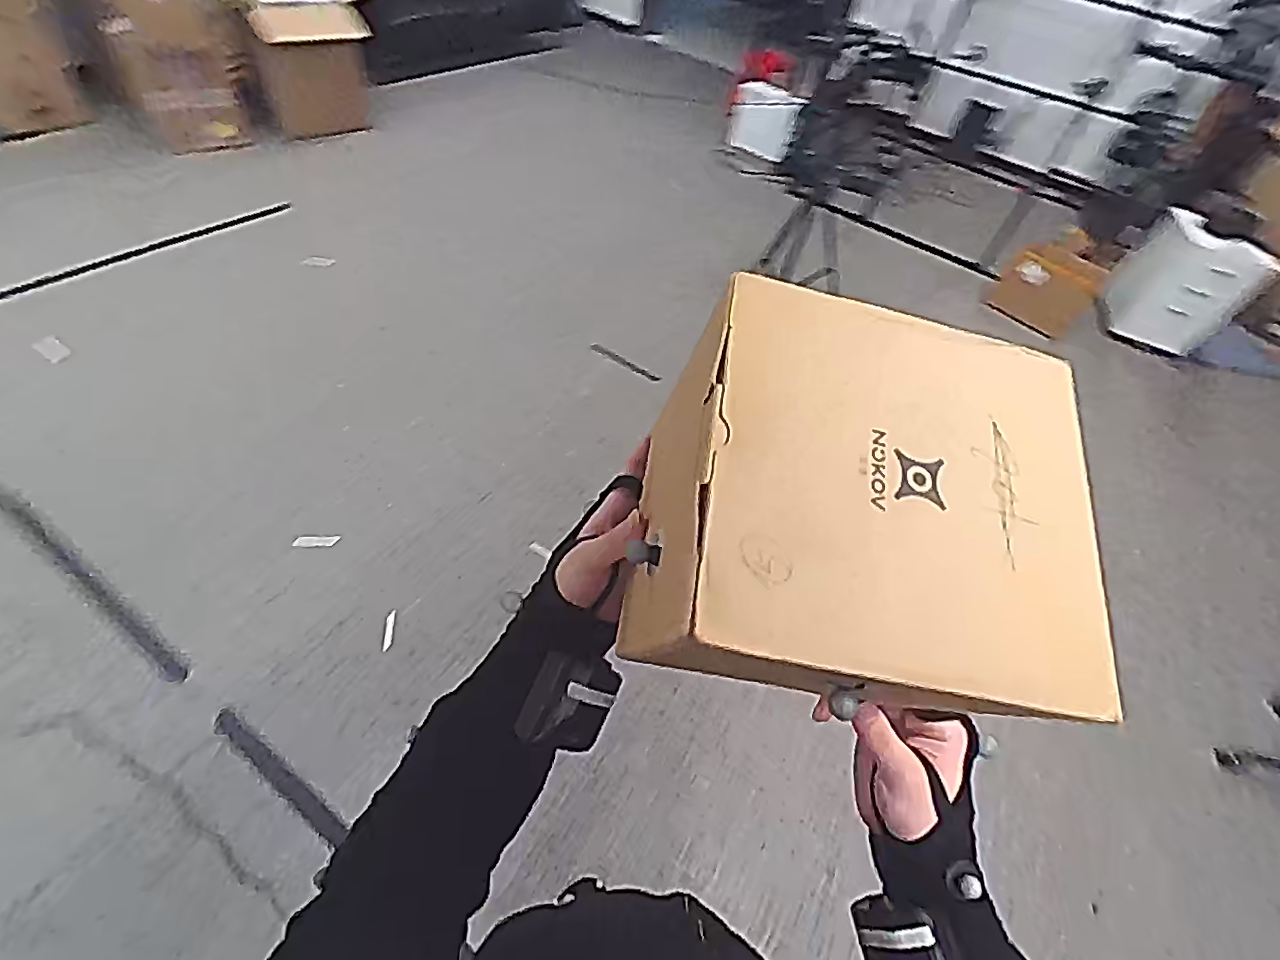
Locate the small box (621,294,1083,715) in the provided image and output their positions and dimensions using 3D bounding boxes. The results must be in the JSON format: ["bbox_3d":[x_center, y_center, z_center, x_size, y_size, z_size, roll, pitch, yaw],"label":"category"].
[{"bbox_3d":[0.093,0.029,0.310,0.179,0.176,0.168,12,70,-8],"label":"small box"}]
